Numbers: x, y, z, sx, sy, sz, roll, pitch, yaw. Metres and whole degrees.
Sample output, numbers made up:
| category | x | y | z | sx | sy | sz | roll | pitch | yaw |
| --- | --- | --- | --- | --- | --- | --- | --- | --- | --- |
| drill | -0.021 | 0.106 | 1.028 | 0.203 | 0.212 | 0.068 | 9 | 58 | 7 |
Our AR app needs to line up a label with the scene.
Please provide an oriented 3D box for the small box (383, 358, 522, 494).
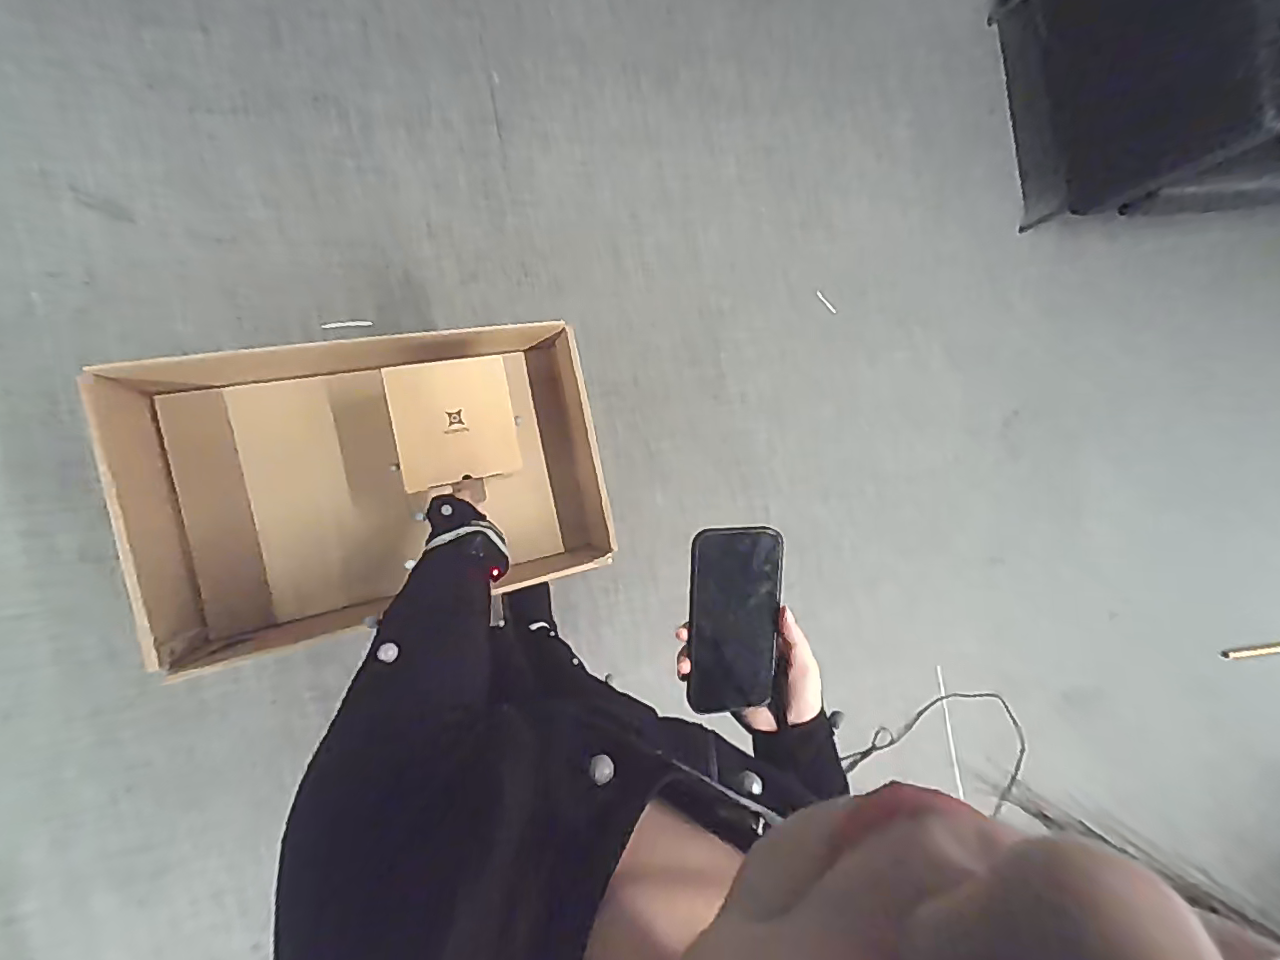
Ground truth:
| category | x | y | z | sx | sy | sz | roll | pitch | yaw |
| --- | --- | --- | --- | --- | --- | --- | --- | --- | --- |
| small box | -0.288 | -0.077 | 0.836 | 0.168 | 0.176 | 0.179 | -11 | 92 | -19 |
